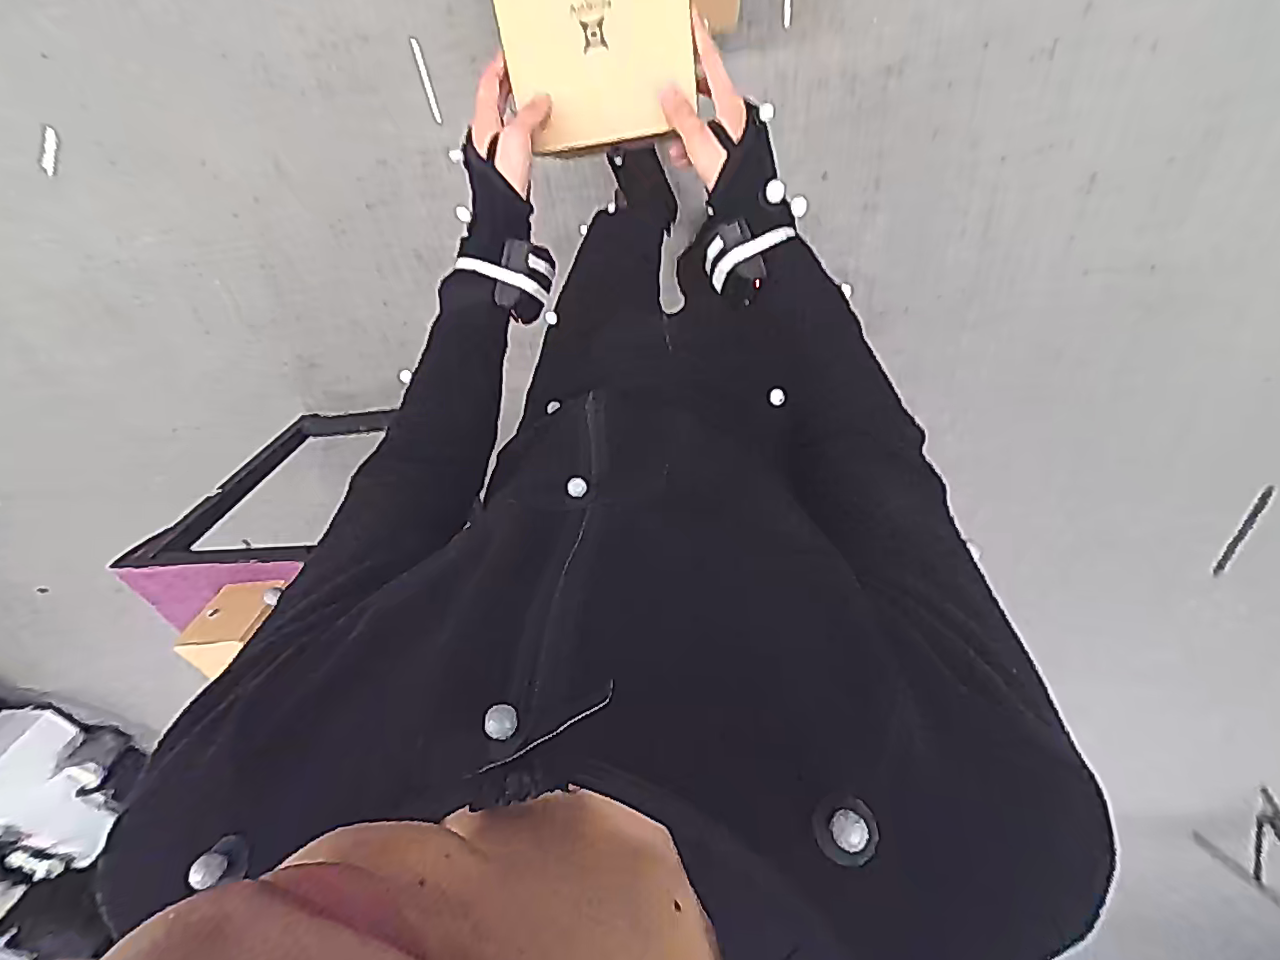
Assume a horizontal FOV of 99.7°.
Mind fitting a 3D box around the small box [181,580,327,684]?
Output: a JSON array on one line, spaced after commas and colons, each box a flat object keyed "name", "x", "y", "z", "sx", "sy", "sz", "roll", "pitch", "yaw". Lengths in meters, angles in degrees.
[{"name": "small box", "x": -0.872, "y": 0.347, "z": 1.241, "sx": 0.179, "sy": 0.176, "sz": 0.168, "roll": -6, "pitch": 128, "yaw": 13}]

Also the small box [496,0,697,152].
[{"name": "small box", "x": -0.032, "y": -0.433, "z": 0.530, "sx": 0.168, "sy": 0.176, "sz": 0.179, "roll": -5, "pitch": 118, "yaw": 8}]
